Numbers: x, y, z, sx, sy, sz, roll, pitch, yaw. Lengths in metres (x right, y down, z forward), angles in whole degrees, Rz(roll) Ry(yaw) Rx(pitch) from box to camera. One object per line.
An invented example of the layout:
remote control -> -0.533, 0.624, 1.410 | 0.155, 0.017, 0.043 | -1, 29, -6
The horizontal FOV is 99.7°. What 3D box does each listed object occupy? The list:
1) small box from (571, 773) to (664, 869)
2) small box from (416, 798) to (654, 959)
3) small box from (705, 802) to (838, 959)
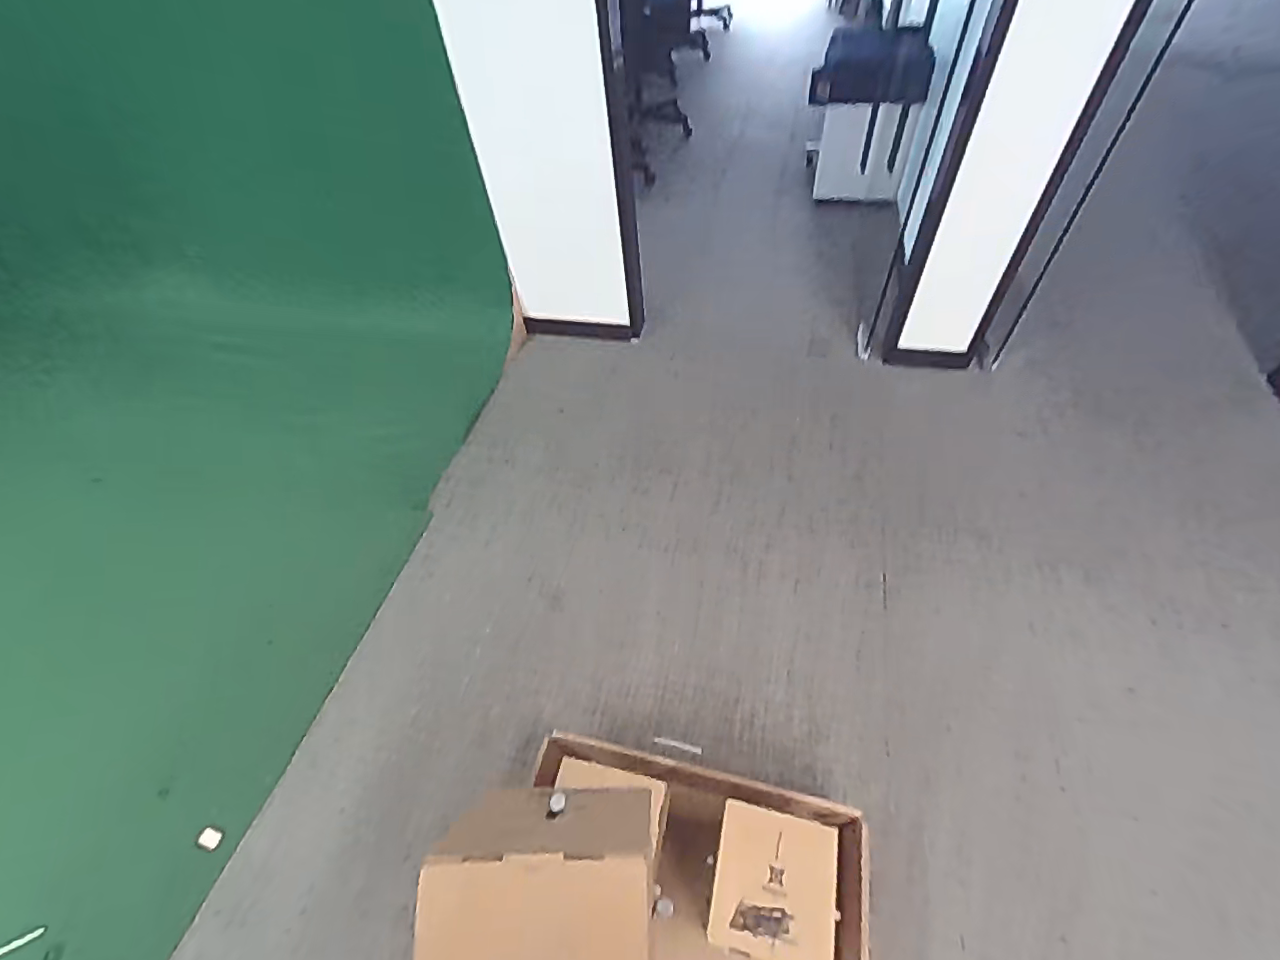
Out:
small box -> -0.054, 0.683, 1.010 | 0.168, 0.176, 0.179 | 12, 53, 14
small box -> -0.072, 0.378, 0.442 | 0.168, 0.176, 0.179 | -1, 76, 2
small box -> 0.197, 0.620, 0.821 | 0.168, 0.176, 0.179 | 9, 53, 13
